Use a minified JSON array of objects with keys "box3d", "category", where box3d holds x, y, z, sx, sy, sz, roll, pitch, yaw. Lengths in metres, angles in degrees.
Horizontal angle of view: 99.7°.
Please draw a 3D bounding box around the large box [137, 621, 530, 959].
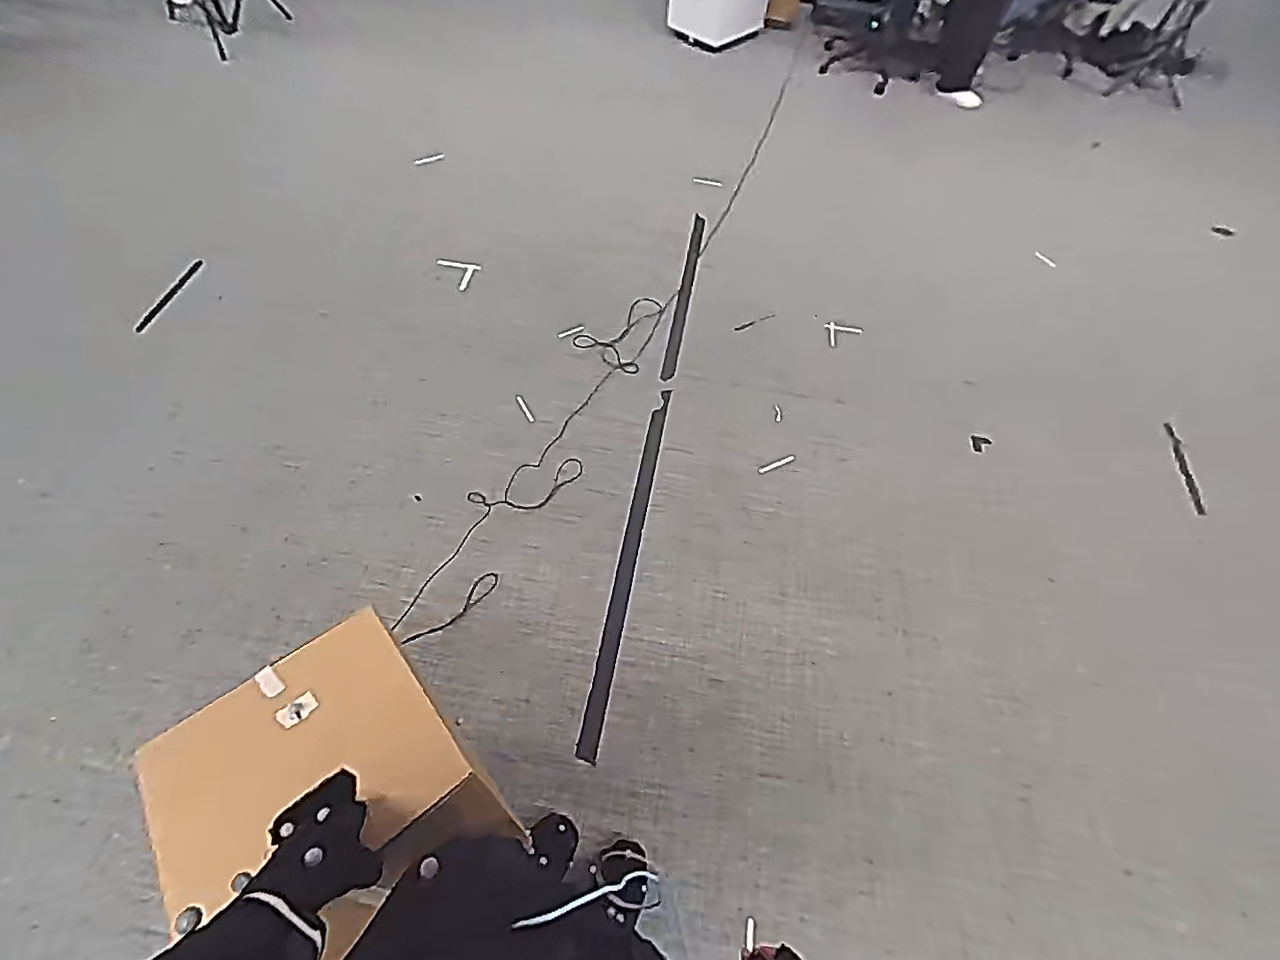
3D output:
[{"box3d":[-0.413,0.489,0.809,0.320,0.408,0.320,-35,54,-26],"category":"large box"}]
